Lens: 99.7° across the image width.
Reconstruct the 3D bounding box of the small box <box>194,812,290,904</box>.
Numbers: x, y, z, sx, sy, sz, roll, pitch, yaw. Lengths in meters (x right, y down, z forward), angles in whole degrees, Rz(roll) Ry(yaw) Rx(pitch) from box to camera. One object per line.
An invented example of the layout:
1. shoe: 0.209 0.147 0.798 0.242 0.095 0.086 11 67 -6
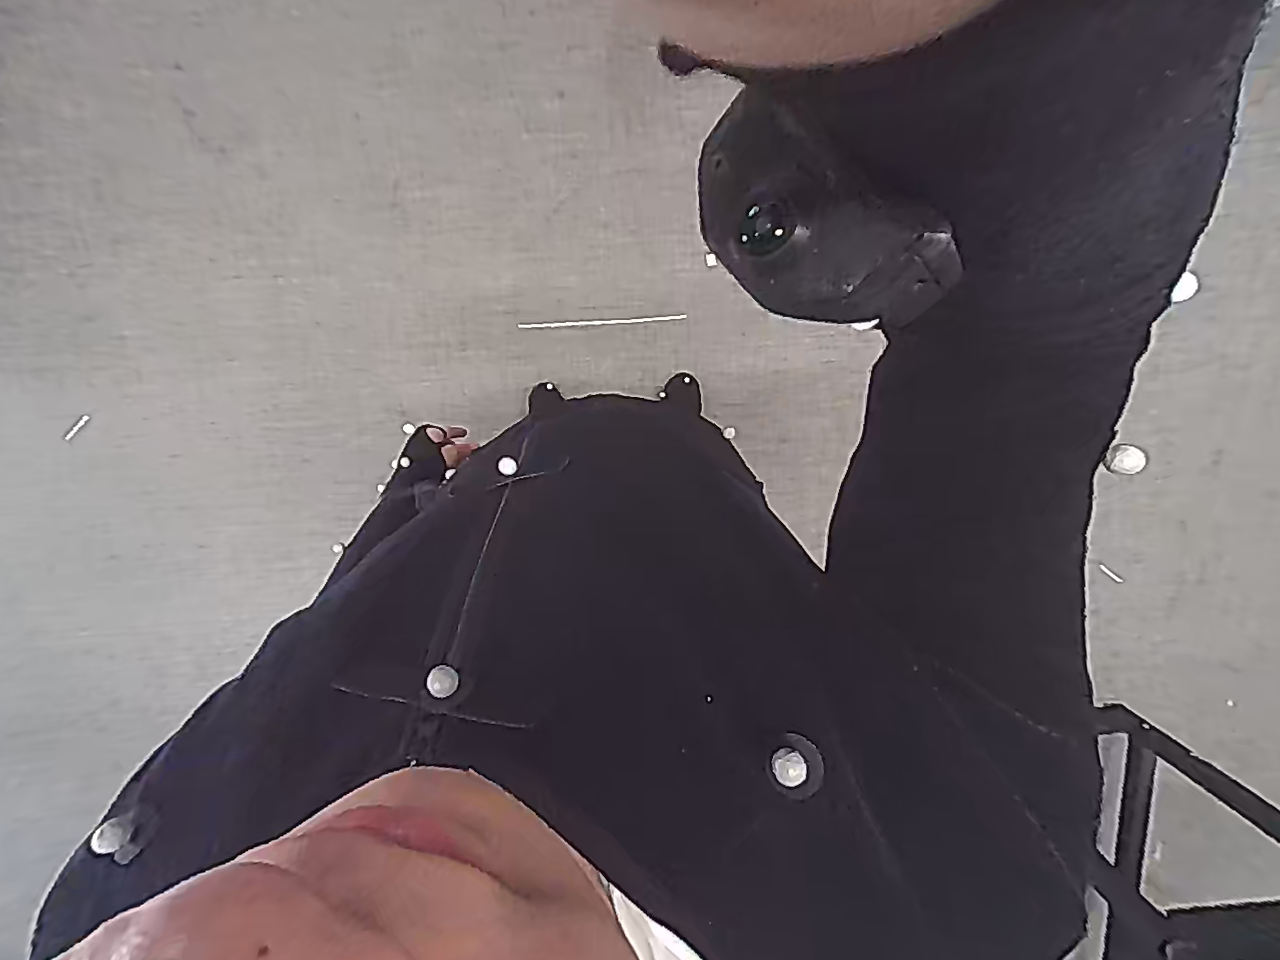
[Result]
1. small box: -1.208 1.153 1.659 0.179 0.176 0.168 0 100 -1
